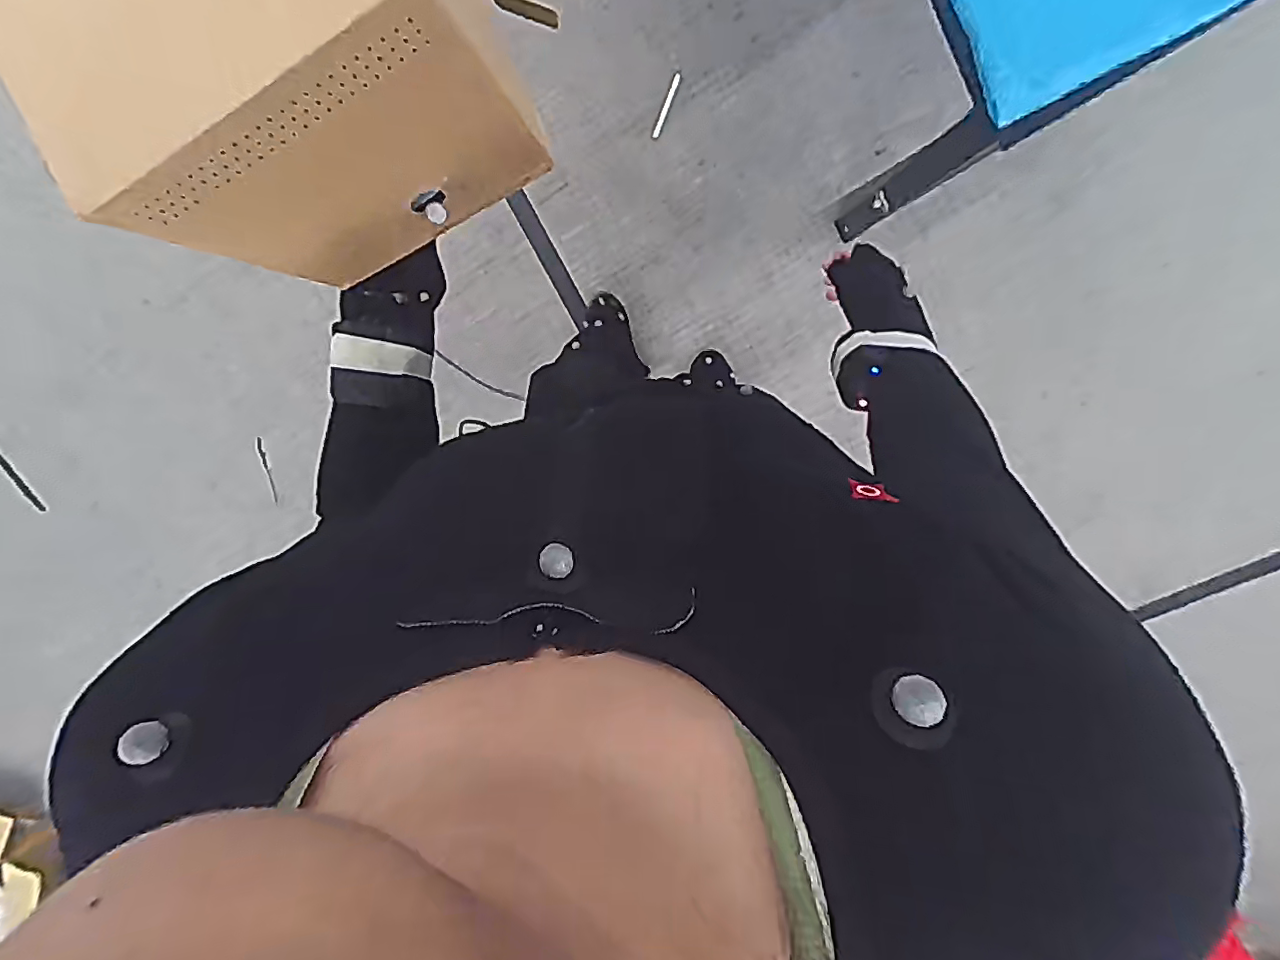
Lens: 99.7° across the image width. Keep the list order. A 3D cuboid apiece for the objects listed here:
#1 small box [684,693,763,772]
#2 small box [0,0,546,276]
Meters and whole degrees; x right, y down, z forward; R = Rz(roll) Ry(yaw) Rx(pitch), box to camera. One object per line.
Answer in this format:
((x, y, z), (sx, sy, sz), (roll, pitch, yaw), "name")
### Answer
((0.241, 0.772, 1.599), (0.168, 0.176, 0.179), (28, 108, -1), "small box")
((-0.181, -0.234, 0.278), (0.179, 0.176, 0.168), (-24, 95, 12), "small box")
